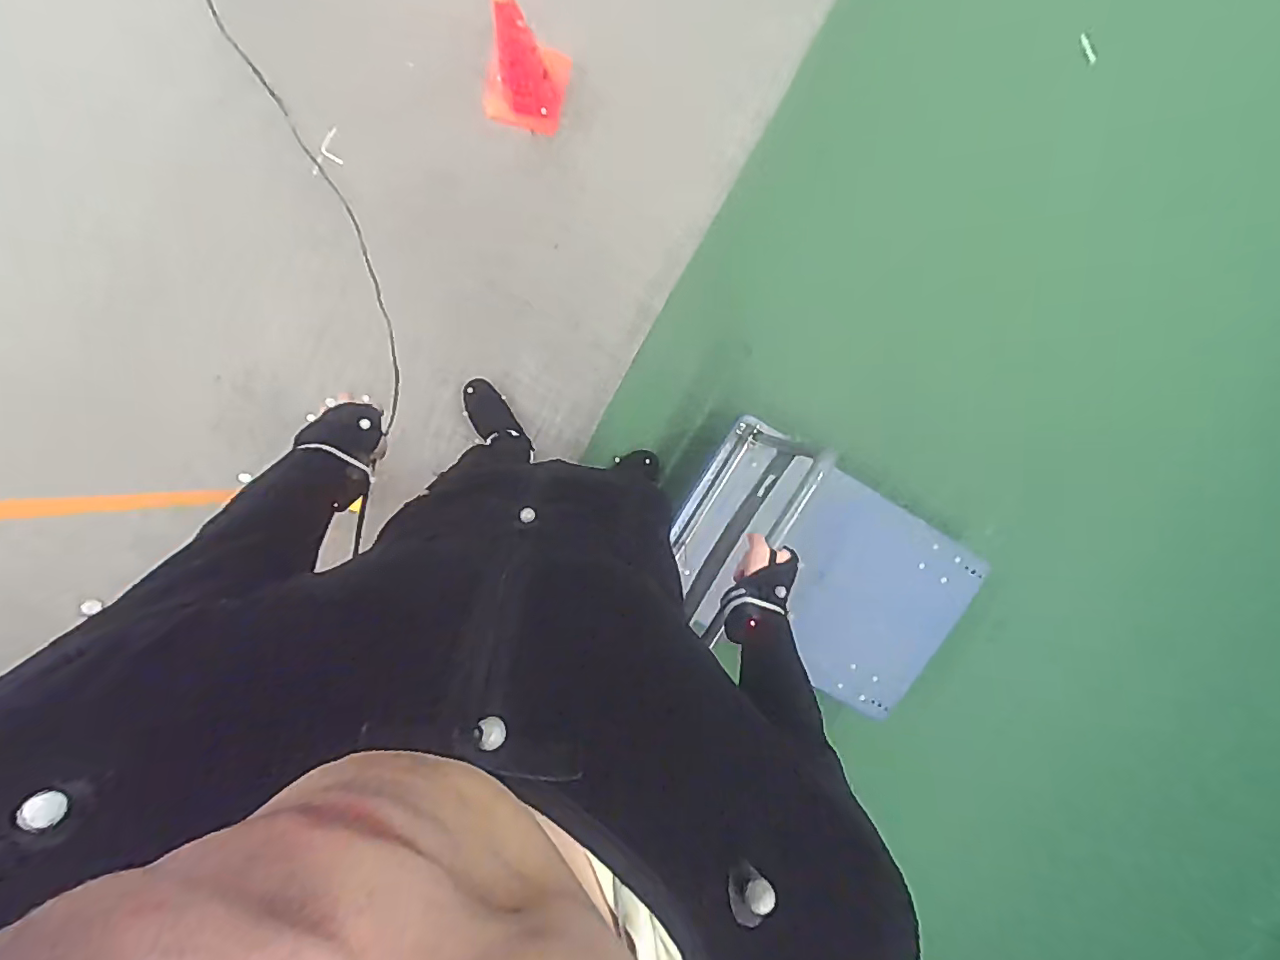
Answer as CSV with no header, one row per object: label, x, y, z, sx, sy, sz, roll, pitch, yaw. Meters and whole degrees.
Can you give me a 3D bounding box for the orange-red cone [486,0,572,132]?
orange-red cone,-0.281,-1.023,1.263,0.198,0.360,0.199,15,97,-6
